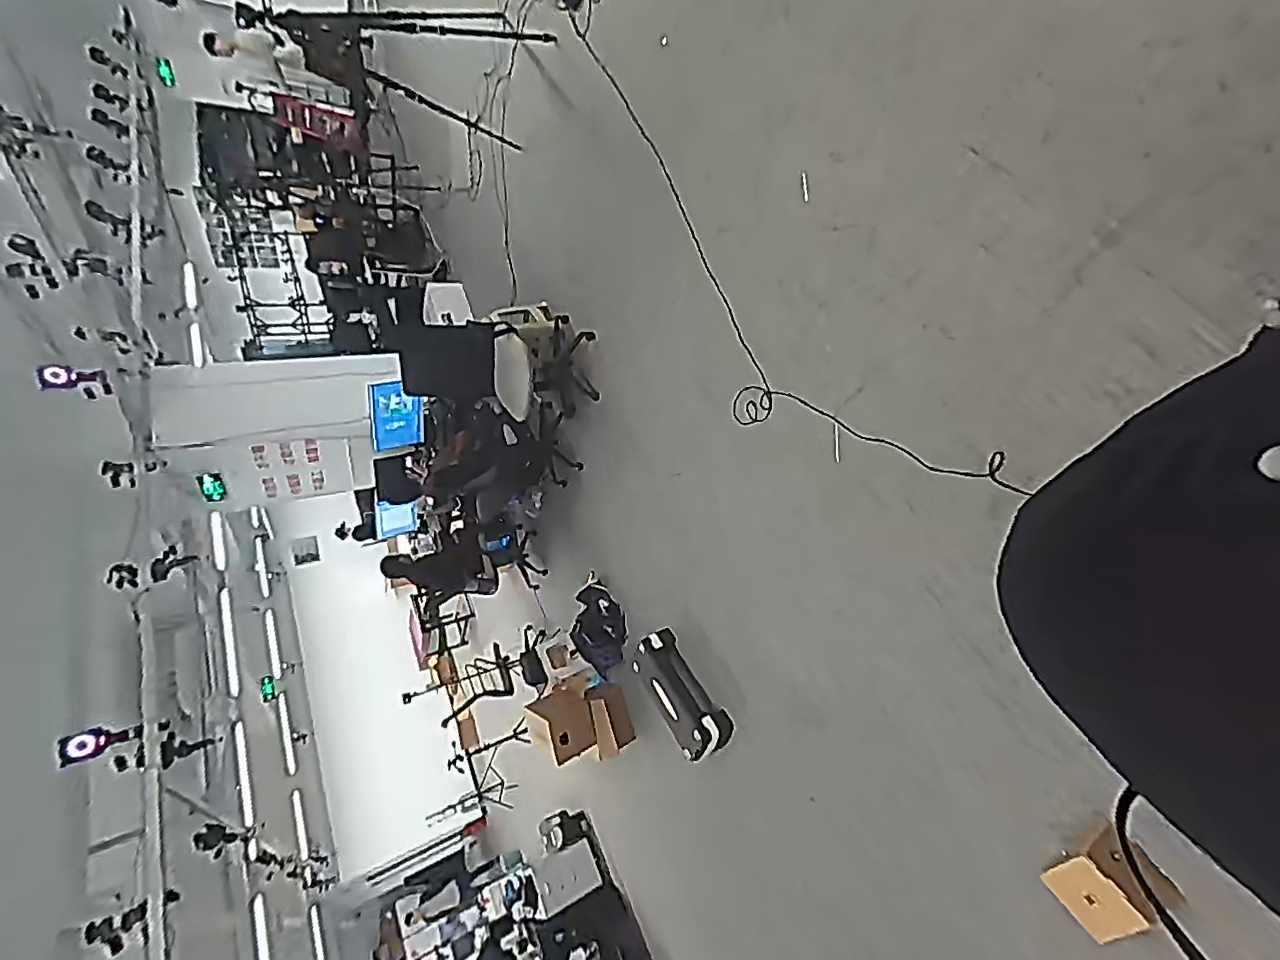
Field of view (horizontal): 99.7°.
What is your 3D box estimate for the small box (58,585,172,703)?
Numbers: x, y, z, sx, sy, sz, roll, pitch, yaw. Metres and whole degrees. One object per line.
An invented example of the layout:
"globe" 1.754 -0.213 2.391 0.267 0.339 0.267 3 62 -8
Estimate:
"small box" -1.137 0.342 1.171 0.168 0.176 0.179 -3 138 -46
